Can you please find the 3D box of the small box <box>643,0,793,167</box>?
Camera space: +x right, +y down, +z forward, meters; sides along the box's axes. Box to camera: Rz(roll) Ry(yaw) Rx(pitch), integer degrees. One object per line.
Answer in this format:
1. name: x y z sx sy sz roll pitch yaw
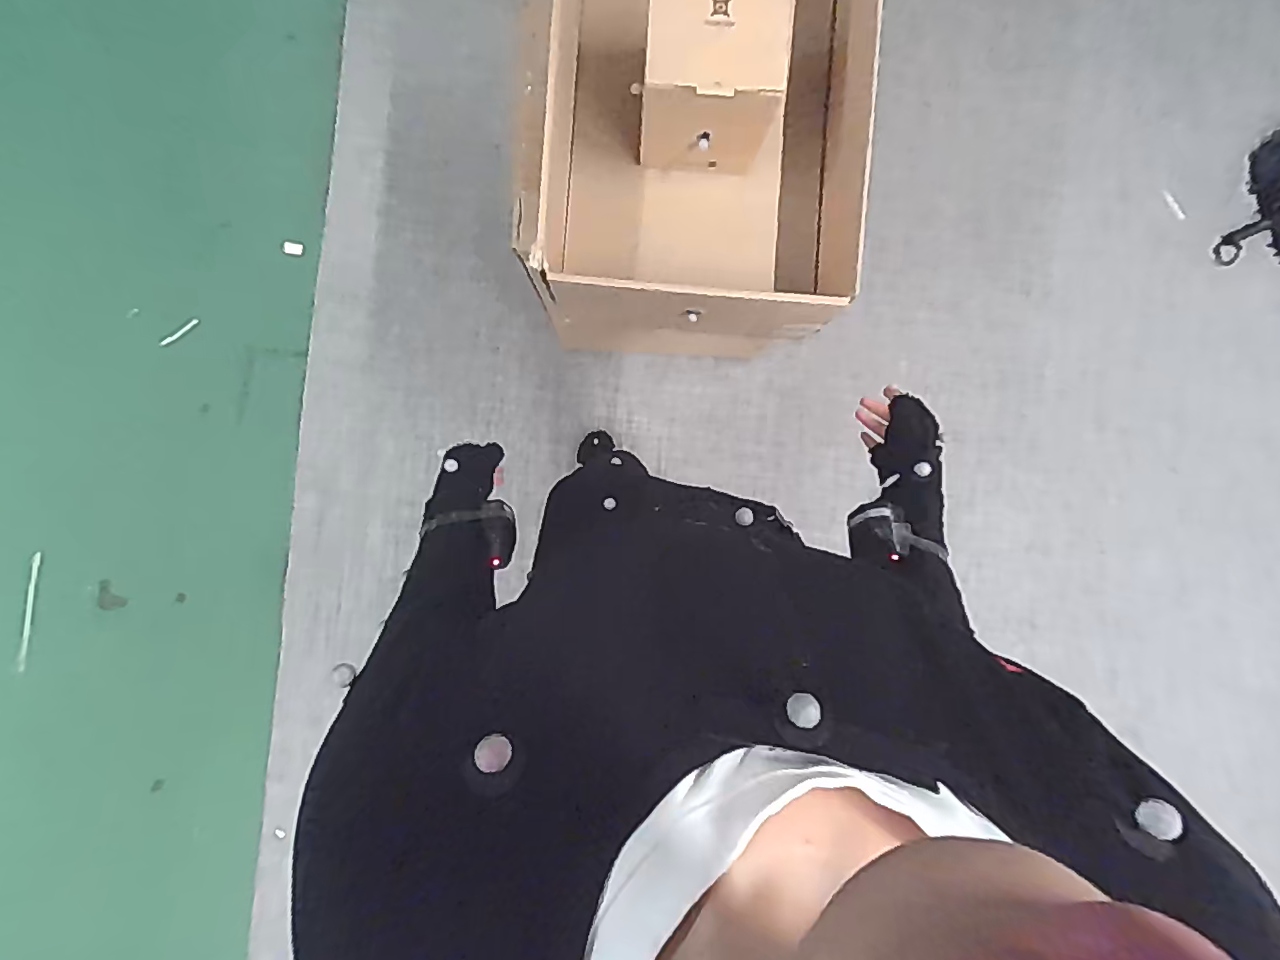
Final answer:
1. small box: 0.092 -0.539 0.701 0.168 0.176 0.179 4 91 -2
